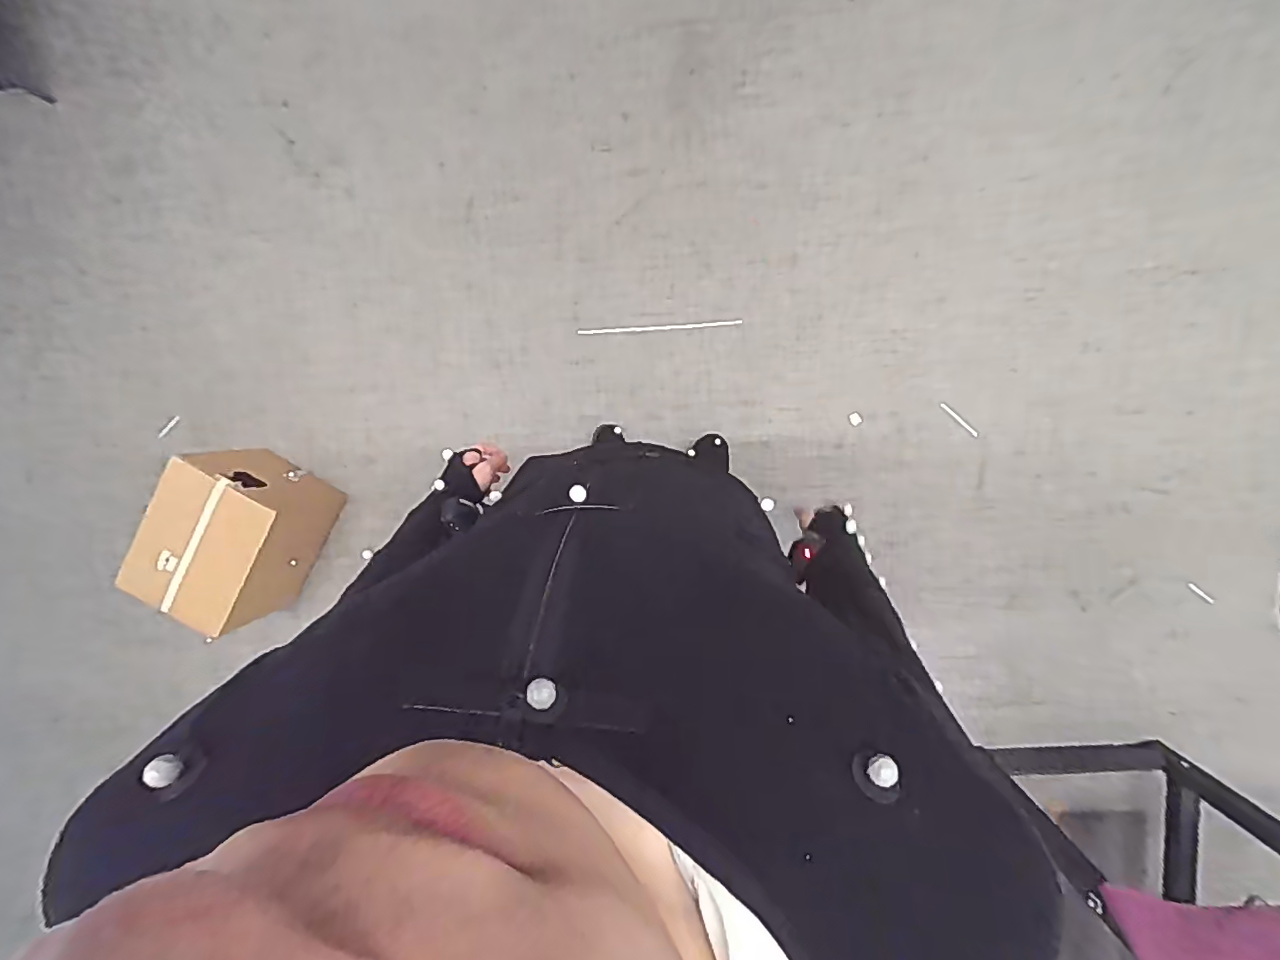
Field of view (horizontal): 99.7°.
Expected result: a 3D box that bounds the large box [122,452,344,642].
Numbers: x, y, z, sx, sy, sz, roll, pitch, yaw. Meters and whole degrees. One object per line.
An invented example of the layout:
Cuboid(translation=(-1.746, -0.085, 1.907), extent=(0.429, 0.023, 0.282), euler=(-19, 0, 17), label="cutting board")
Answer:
Cuboid(translation=(-1.143, 0.170, 1.556), extent=(0.320, 0.320, 0.408), euler=(29, 98, 0), label="large box")
